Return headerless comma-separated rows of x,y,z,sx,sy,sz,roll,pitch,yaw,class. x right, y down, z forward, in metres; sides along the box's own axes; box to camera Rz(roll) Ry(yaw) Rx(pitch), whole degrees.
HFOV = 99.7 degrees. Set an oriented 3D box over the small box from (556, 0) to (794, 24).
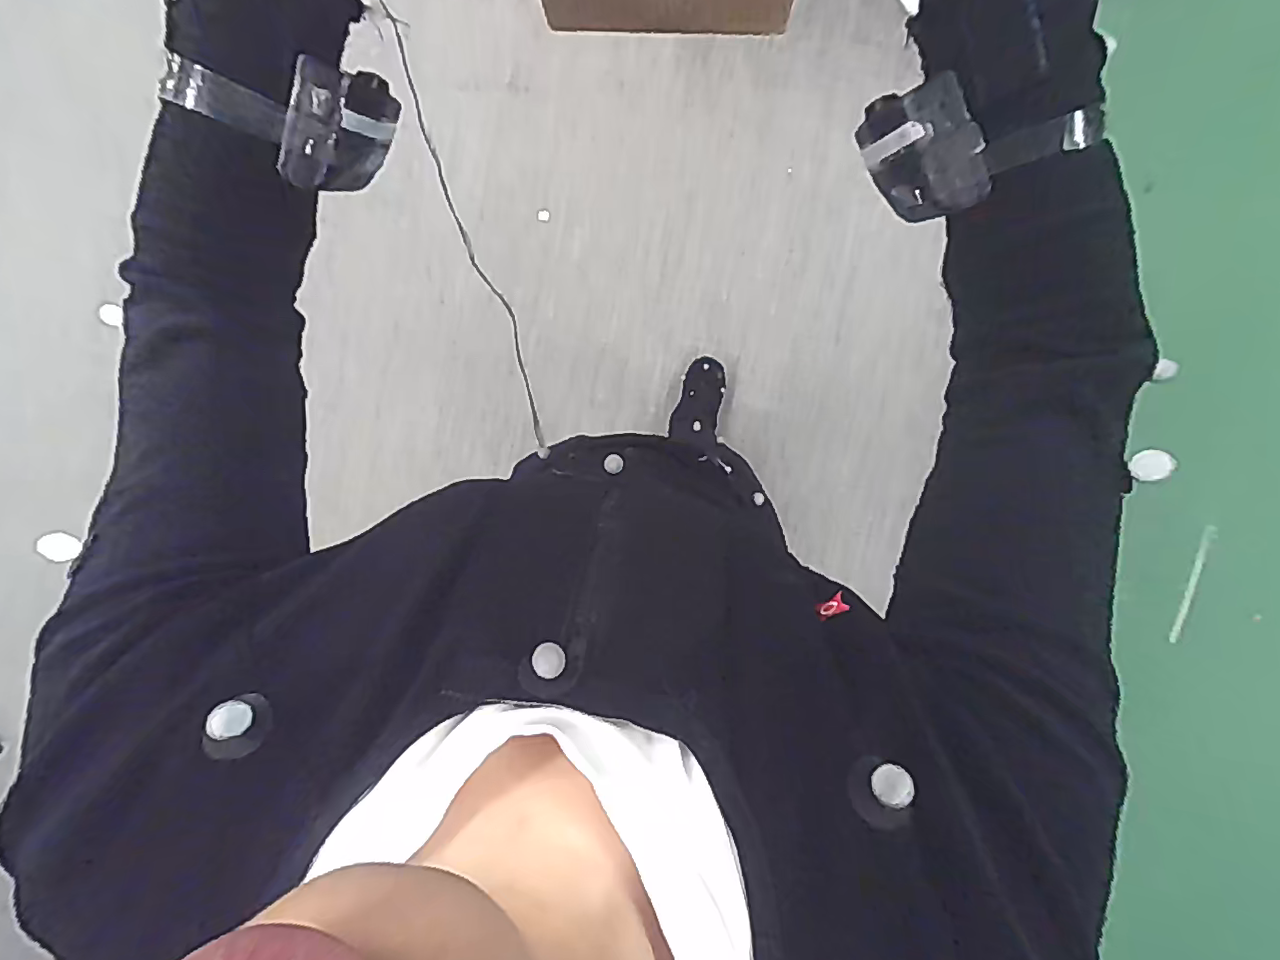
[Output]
0.022,-0.410,0.310,0.179,0.176,0.168,4,91,3,small box
